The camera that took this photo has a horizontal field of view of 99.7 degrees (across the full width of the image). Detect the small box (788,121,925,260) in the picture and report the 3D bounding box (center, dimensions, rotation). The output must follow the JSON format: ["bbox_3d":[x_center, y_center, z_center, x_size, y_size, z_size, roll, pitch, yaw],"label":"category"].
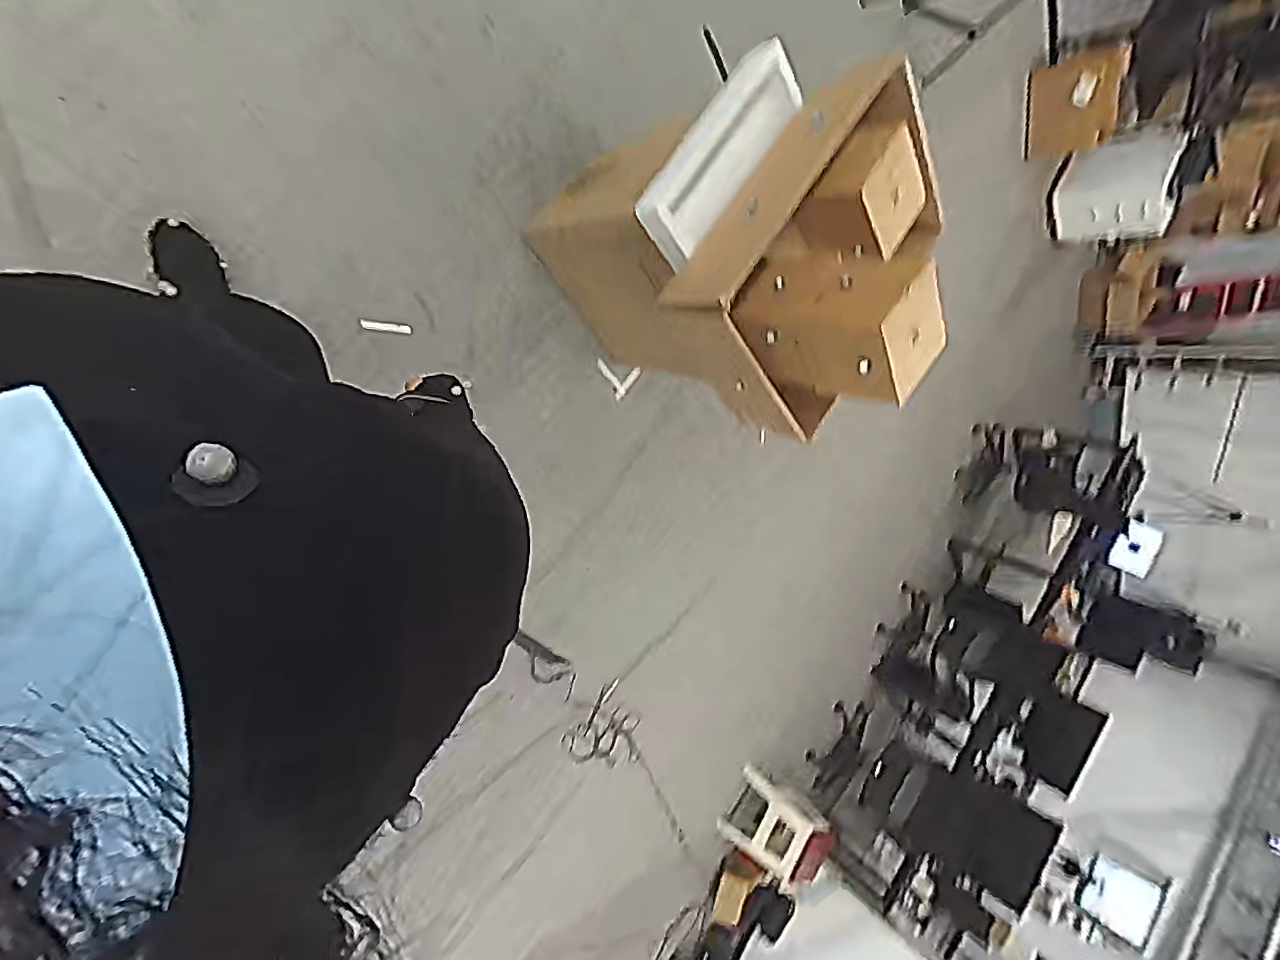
[{"bbox_3d":[0.427,-0.564,1.071,0.179,0.176,0.168,39,81,-43],"label":"small box"}]
